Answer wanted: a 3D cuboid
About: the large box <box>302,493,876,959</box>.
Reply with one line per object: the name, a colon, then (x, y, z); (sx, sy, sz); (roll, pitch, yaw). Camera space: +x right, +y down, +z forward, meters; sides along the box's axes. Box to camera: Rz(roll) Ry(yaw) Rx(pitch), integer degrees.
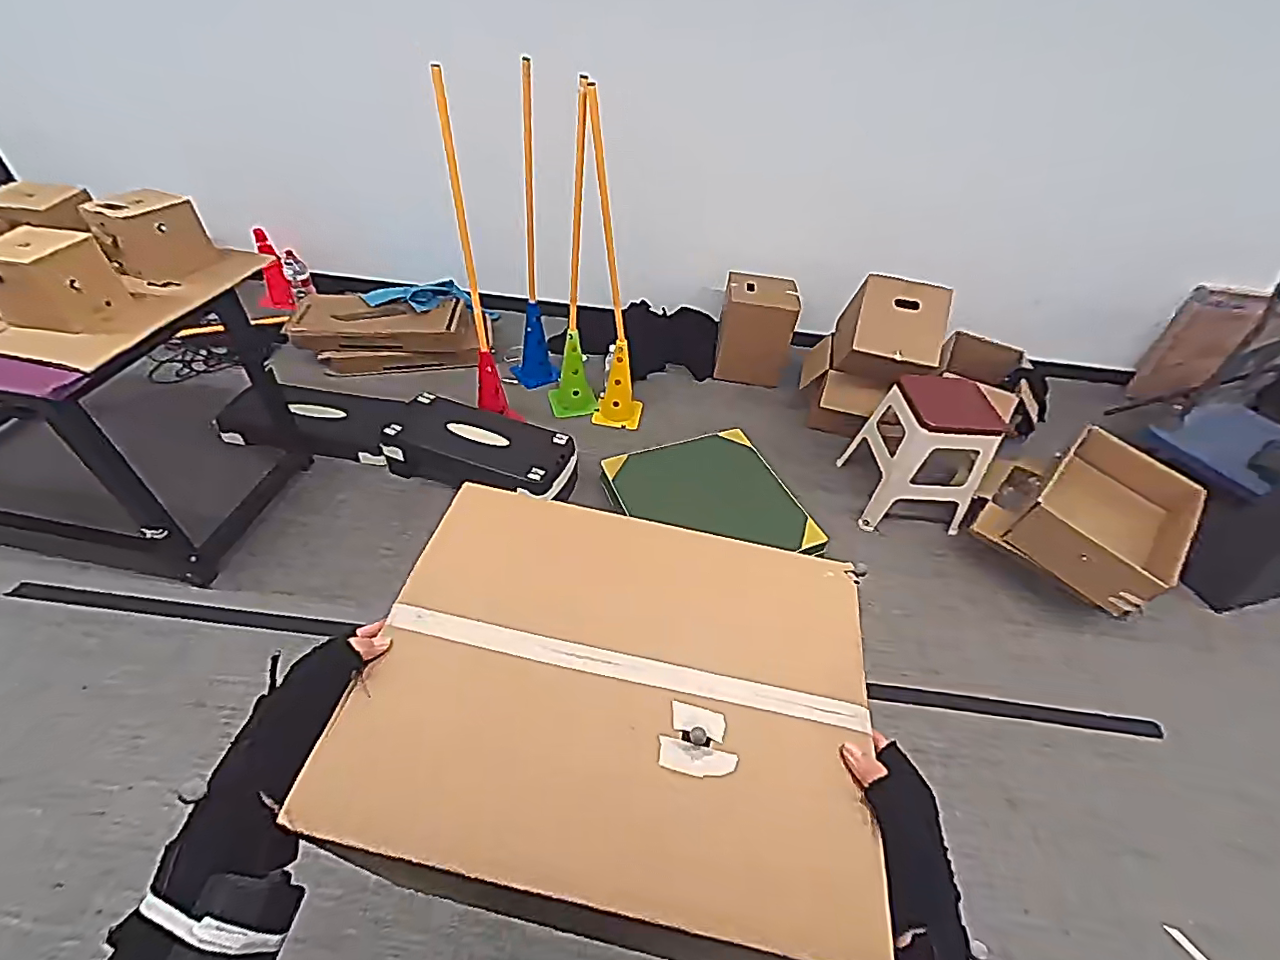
large box: (-0.030, 0.259, 0.569); (0.408, 0.320, 0.320); (12, 48, 3)
